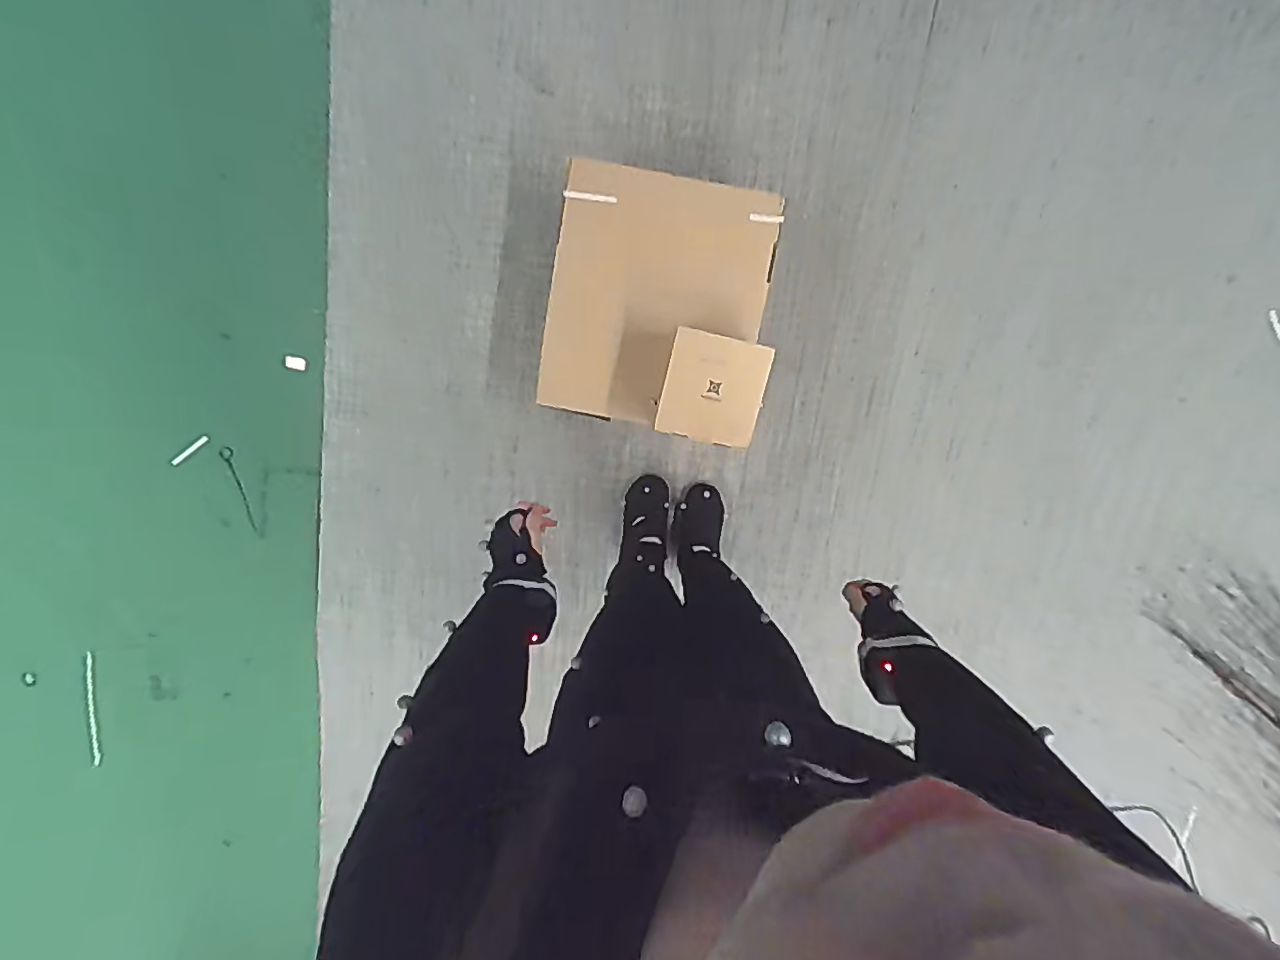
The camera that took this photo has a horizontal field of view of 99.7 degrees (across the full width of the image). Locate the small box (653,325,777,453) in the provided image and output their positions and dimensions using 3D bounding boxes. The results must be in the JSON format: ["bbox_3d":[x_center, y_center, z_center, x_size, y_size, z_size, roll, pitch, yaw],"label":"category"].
[{"bbox_3d":[0.123,-0.159,0.960,0.168,0.176,0.179,14,99,-3],"label":"small box"}]
